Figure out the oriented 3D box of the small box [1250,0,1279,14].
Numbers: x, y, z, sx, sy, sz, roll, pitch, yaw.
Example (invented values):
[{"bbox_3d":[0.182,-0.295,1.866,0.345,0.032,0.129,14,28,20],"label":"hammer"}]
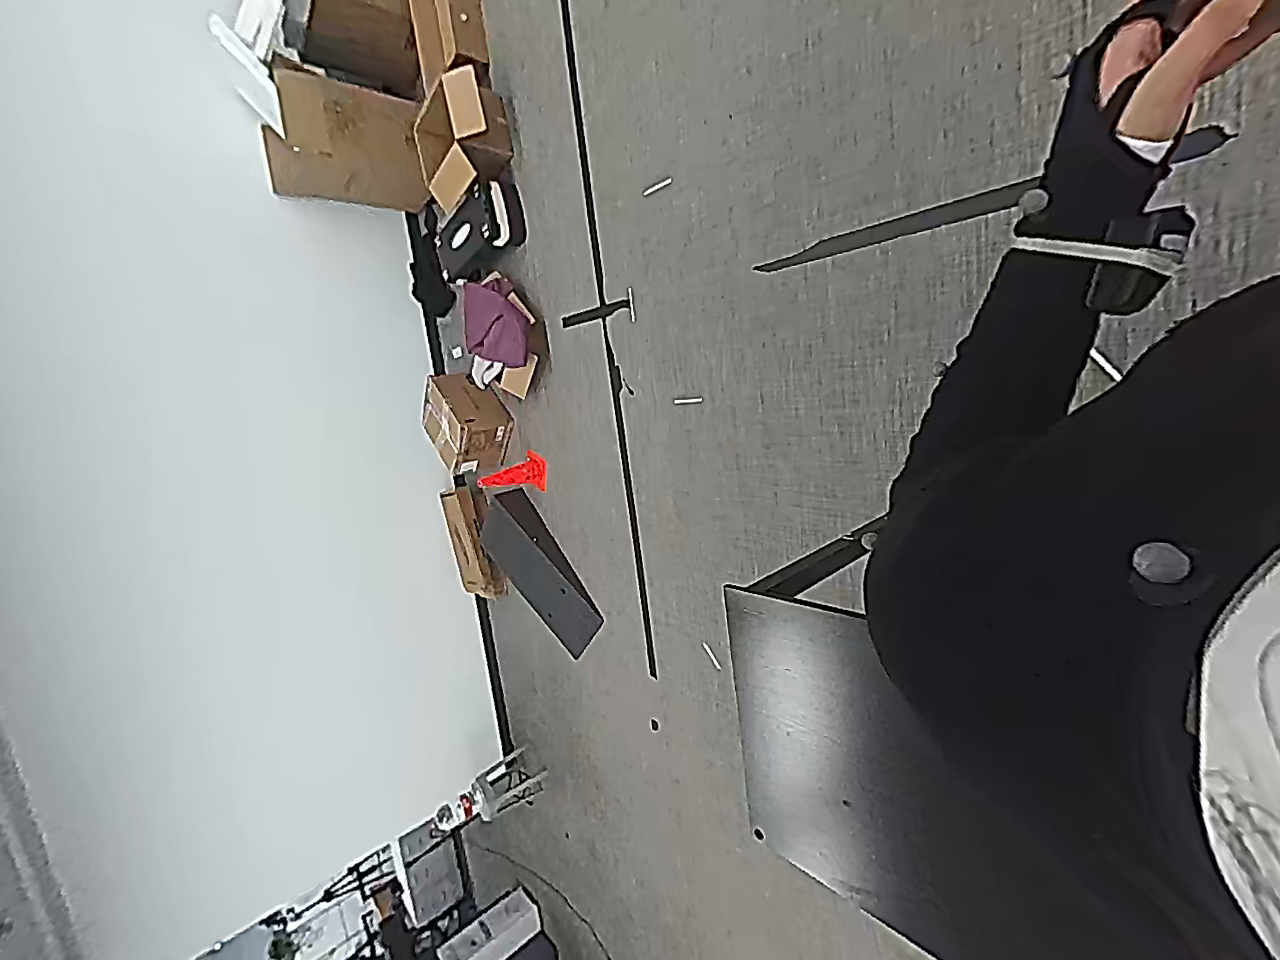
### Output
[{"bbox_3d":[0.409,-0.360,0.246,0.179,0.176,0.168,4,115,49],"label":"small box"}]
